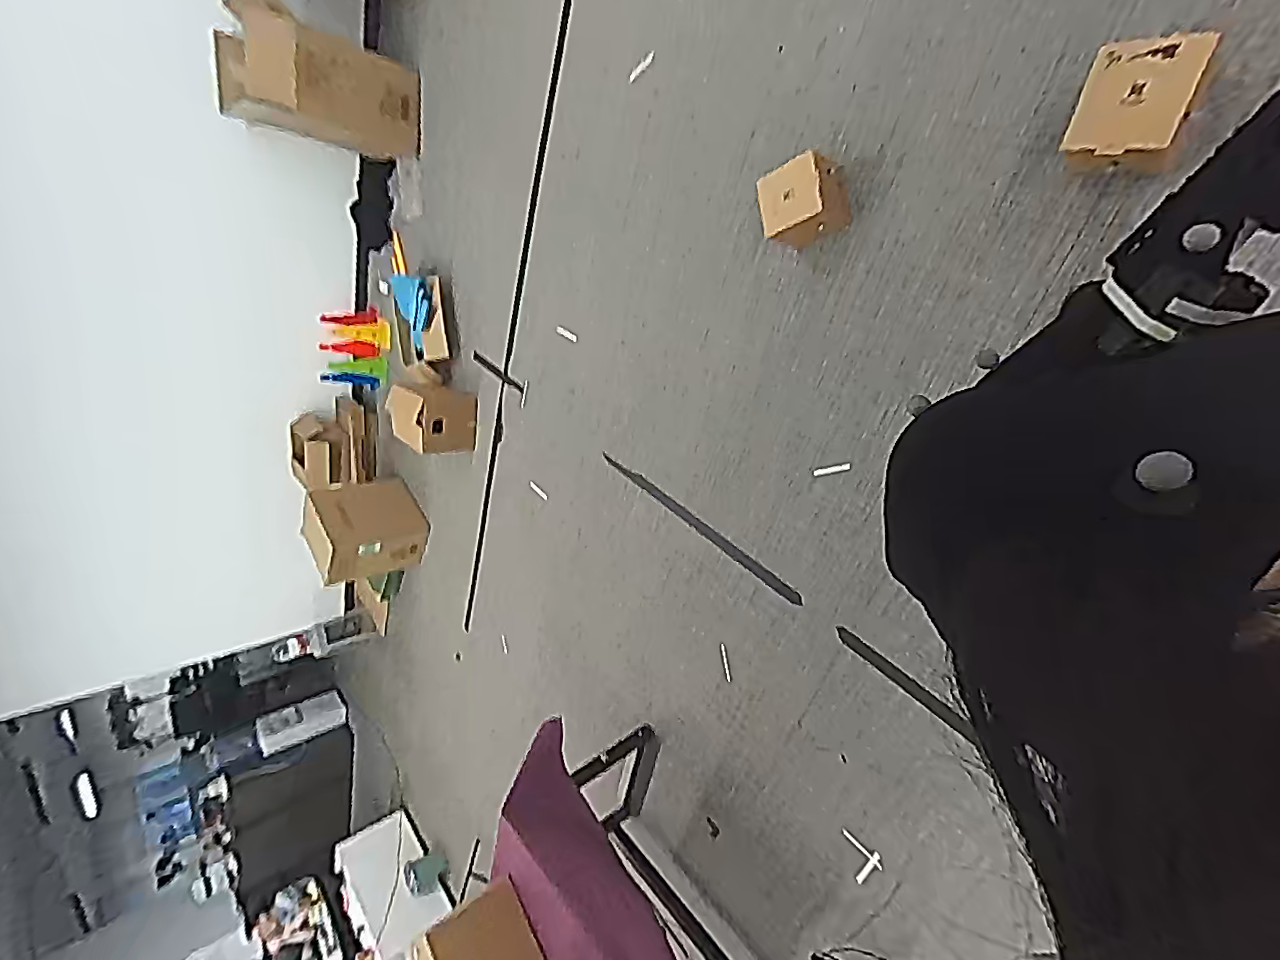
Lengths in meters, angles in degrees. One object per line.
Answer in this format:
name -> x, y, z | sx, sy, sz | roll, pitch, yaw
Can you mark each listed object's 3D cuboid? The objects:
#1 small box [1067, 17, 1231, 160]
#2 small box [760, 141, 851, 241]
small box -> 0.943, -0.711, 1.005 | 0.168, 0.176, 0.179 | 29, 119, 38
small box -> 0.461, -0.785, 1.488 | 0.179, 0.176, 0.168 | -10, 90, 47
